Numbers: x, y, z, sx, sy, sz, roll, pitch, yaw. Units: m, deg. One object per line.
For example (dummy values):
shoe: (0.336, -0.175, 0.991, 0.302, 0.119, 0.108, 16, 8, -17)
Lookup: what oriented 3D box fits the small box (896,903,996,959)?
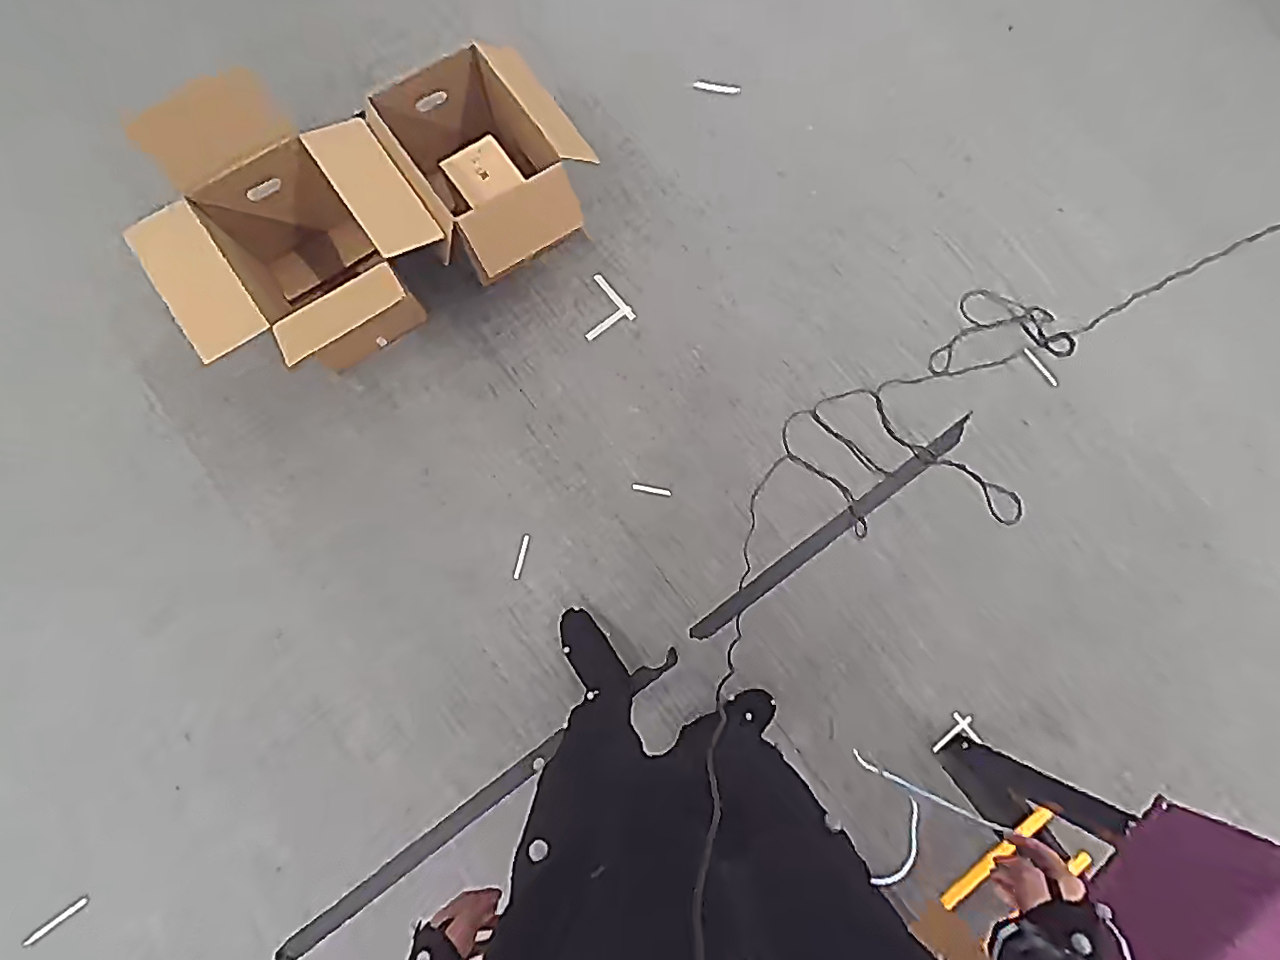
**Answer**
small box: (0.680, 1.071, 1.151, 0.179, 0.176, 0.168, -38, 84, -7)
